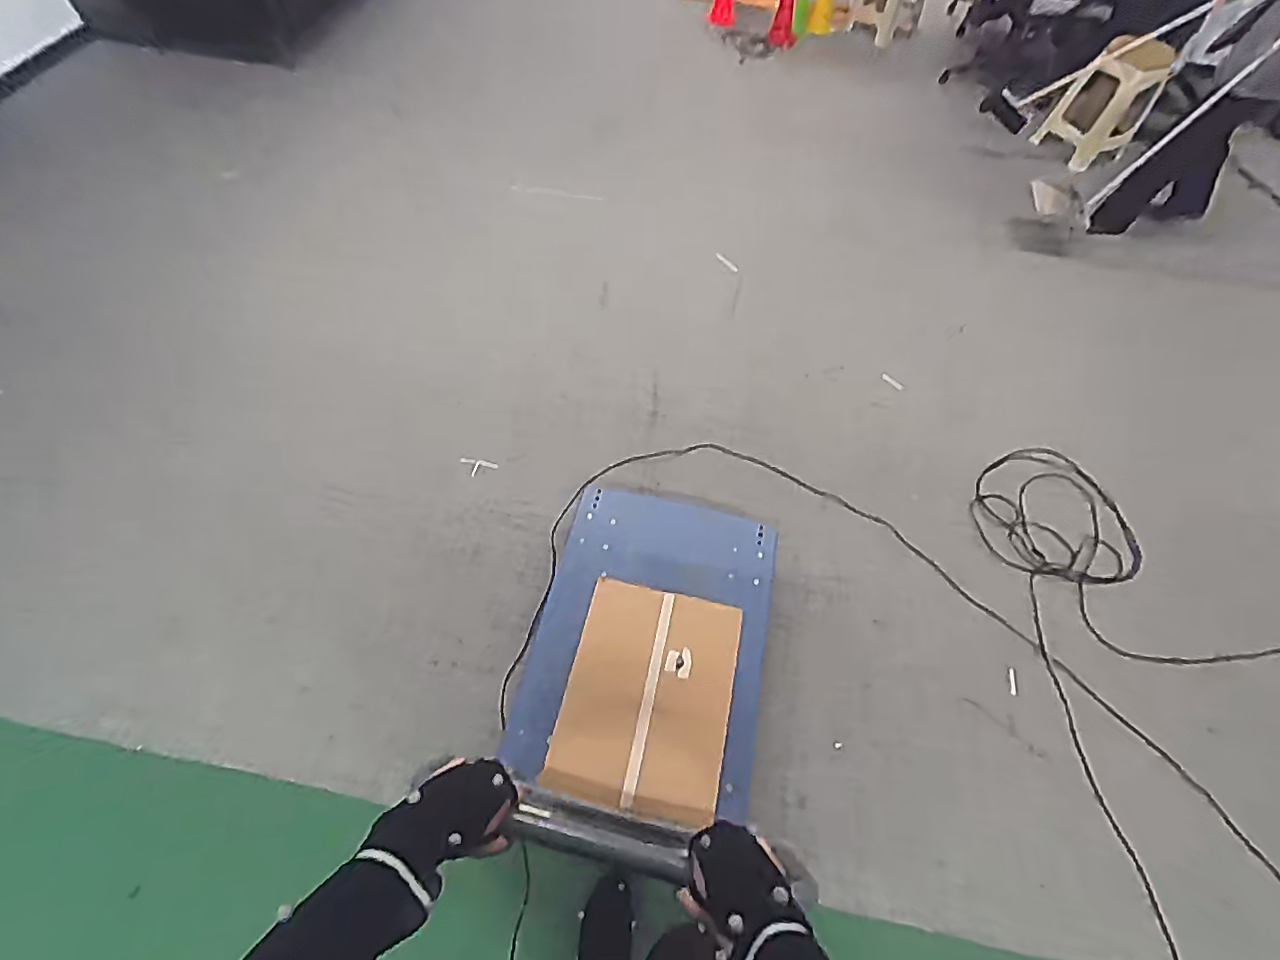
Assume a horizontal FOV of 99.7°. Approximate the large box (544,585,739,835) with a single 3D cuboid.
[{"bbox_3d":[0.014,0.494,1.162,0.320,0.320,0.408,12,59,4],"label":"large box"}]
